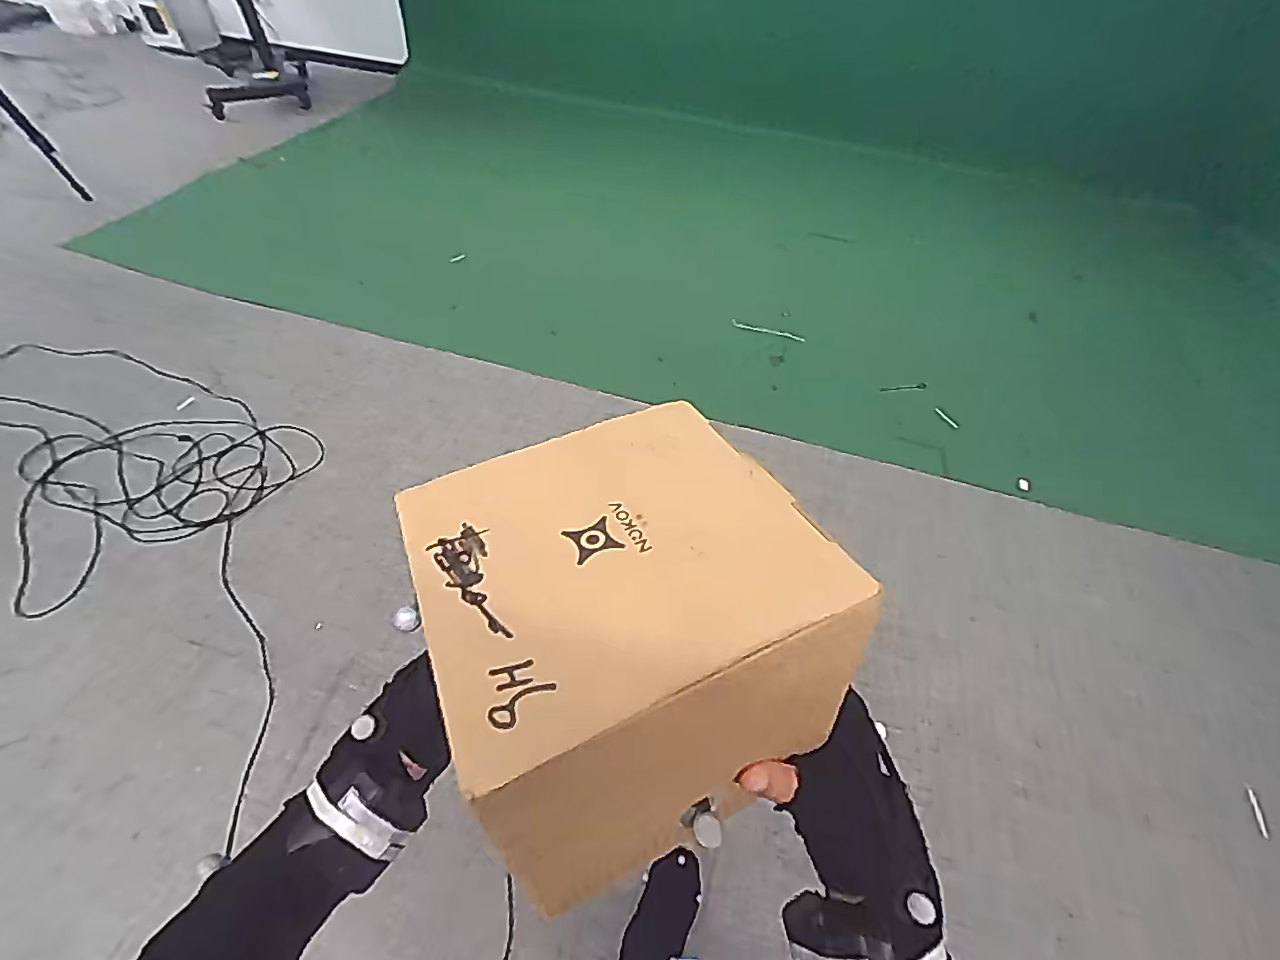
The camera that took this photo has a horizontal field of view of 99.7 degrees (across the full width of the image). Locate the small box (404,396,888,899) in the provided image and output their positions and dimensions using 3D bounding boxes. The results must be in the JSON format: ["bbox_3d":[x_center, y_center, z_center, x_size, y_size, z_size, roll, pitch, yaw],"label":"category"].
[{"bbox_3d":[-0.006,0.083,0.300,0.179,0.176,0.168,-20,43,-18],"label":"small box"}]
